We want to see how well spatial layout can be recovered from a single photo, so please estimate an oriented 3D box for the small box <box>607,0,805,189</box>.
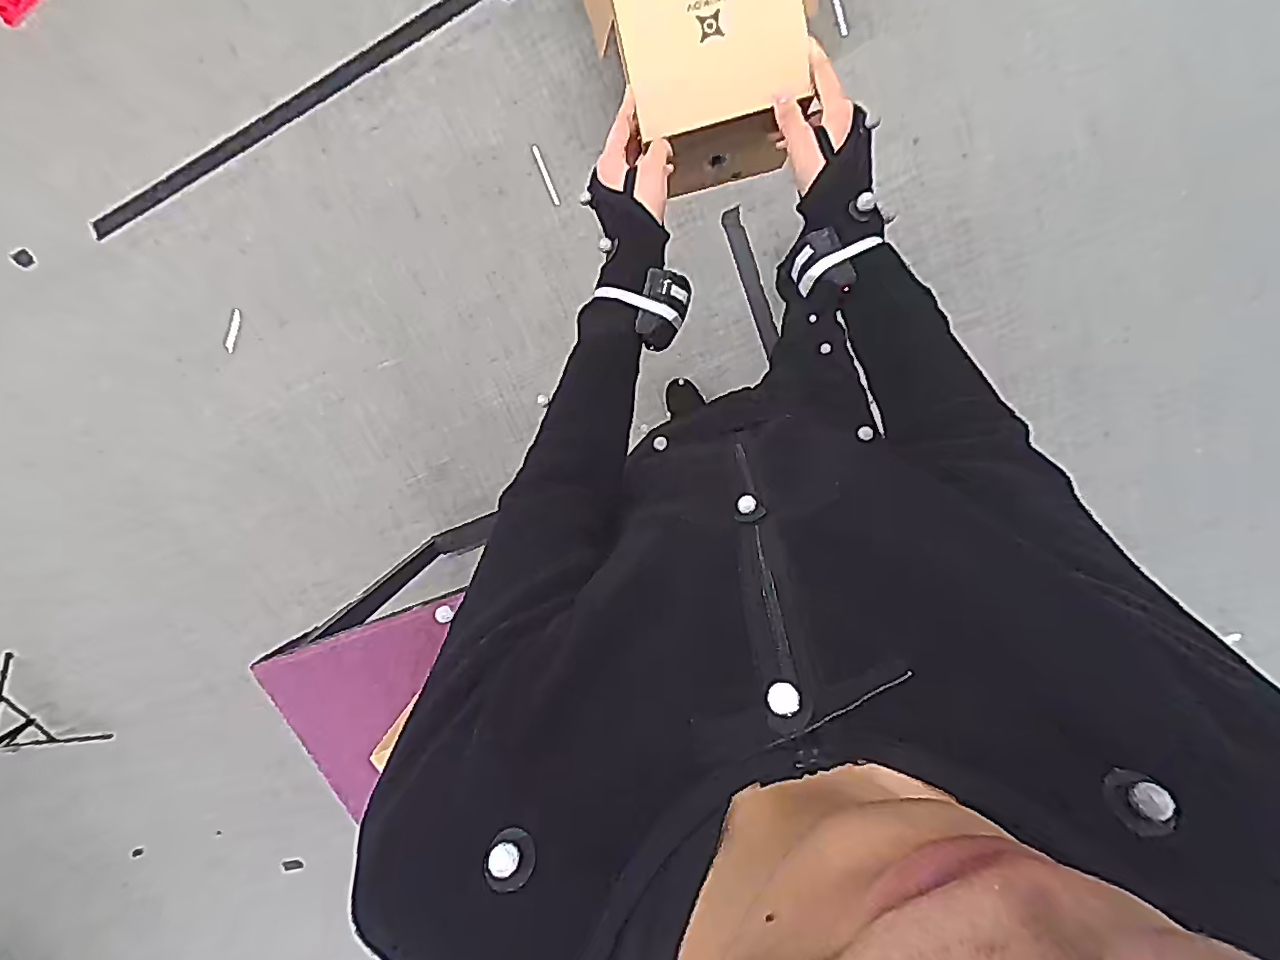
[{"bbox_3d":[0.064,-0.437,0.577,0.168,0.176,0.179,-12,98,5],"label":"small box"}]
